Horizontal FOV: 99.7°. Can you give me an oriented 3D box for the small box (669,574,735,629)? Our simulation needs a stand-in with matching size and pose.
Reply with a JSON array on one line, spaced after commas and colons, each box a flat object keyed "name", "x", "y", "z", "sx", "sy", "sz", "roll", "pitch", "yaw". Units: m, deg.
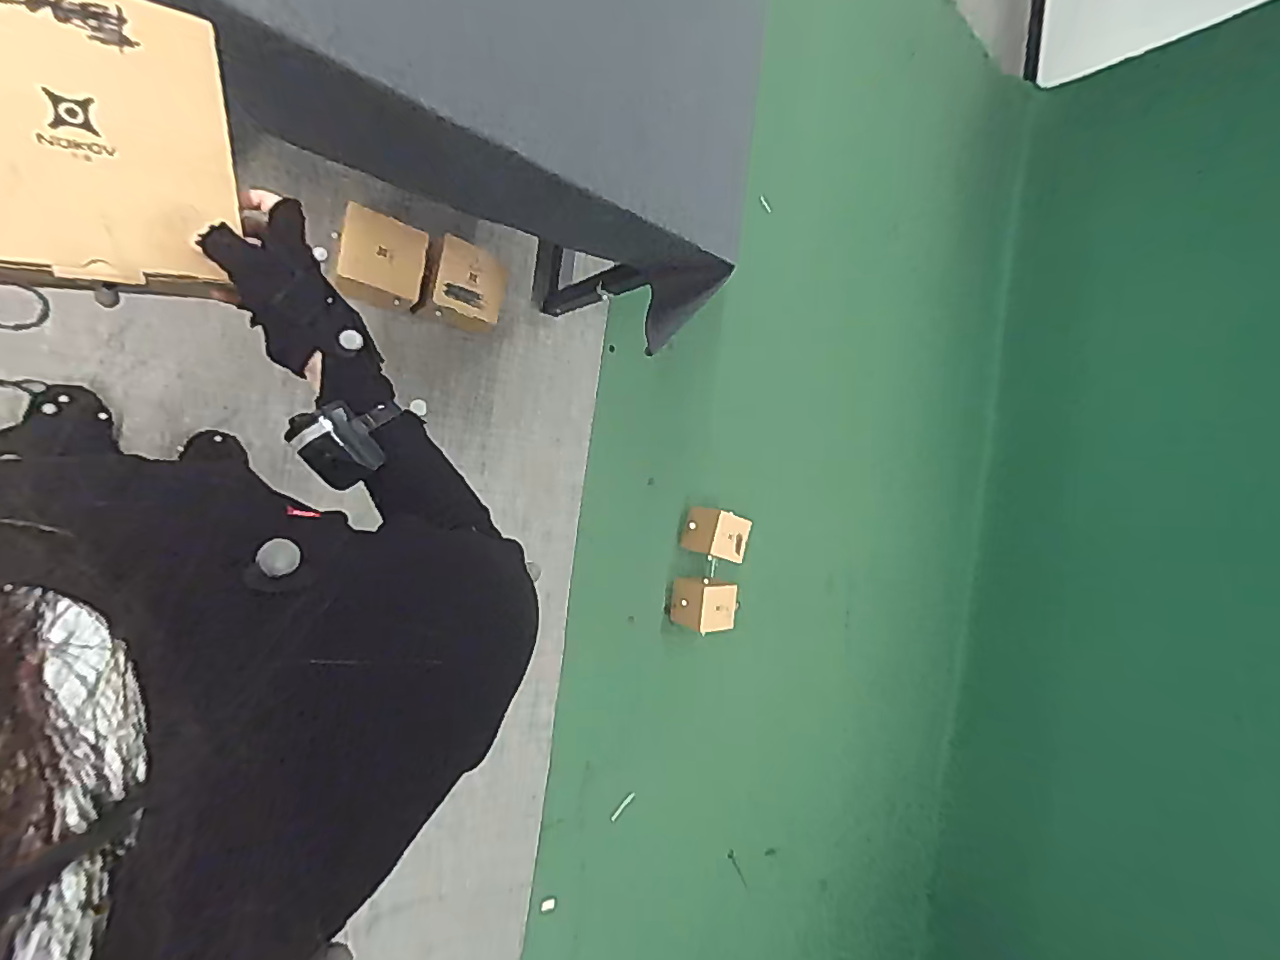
[{"name": "small box", "x": 0.229, "y": 0.452, "z": 2.031, "sx": 0.179, "sy": 0.176, "sz": 0.168, "roll": 5, "pitch": 91, "yaw": -39}]

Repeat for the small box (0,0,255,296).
[{"name": "small box", "x": -0.403, "y": -0.234, "z": 0.398, "sx": 0.168, "sy": 0.176, "sz": 0.179, "roll": -11, "pitch": 108, "yaw": -41}]

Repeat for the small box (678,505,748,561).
[{"name": "small box", "x": 0.274, "y": 0.197, "z": 2.046, "sx": 0.179, "sy": 0.176, "sz": 0.168, "roll": 21, "pitch": 80, "yaw": -36}]
